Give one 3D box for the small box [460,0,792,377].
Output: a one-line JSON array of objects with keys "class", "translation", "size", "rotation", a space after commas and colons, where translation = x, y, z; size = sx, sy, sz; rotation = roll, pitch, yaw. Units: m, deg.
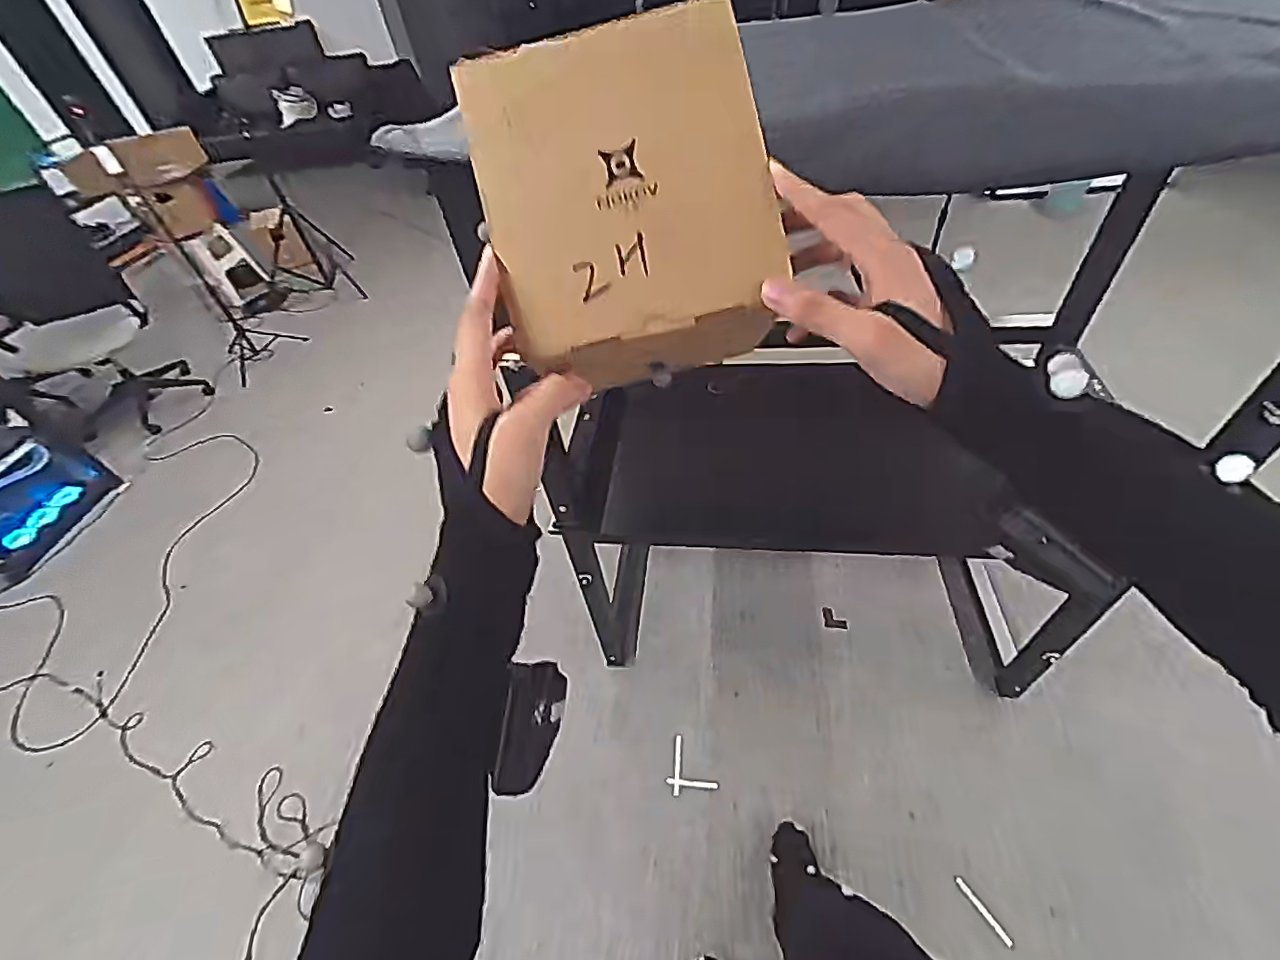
[{"class": "small box", "translation": [-0.006, -0.187, 0.391], "size": [0.168, 0.176, 0.179], "rotation": [-13, 91, 3]}]
